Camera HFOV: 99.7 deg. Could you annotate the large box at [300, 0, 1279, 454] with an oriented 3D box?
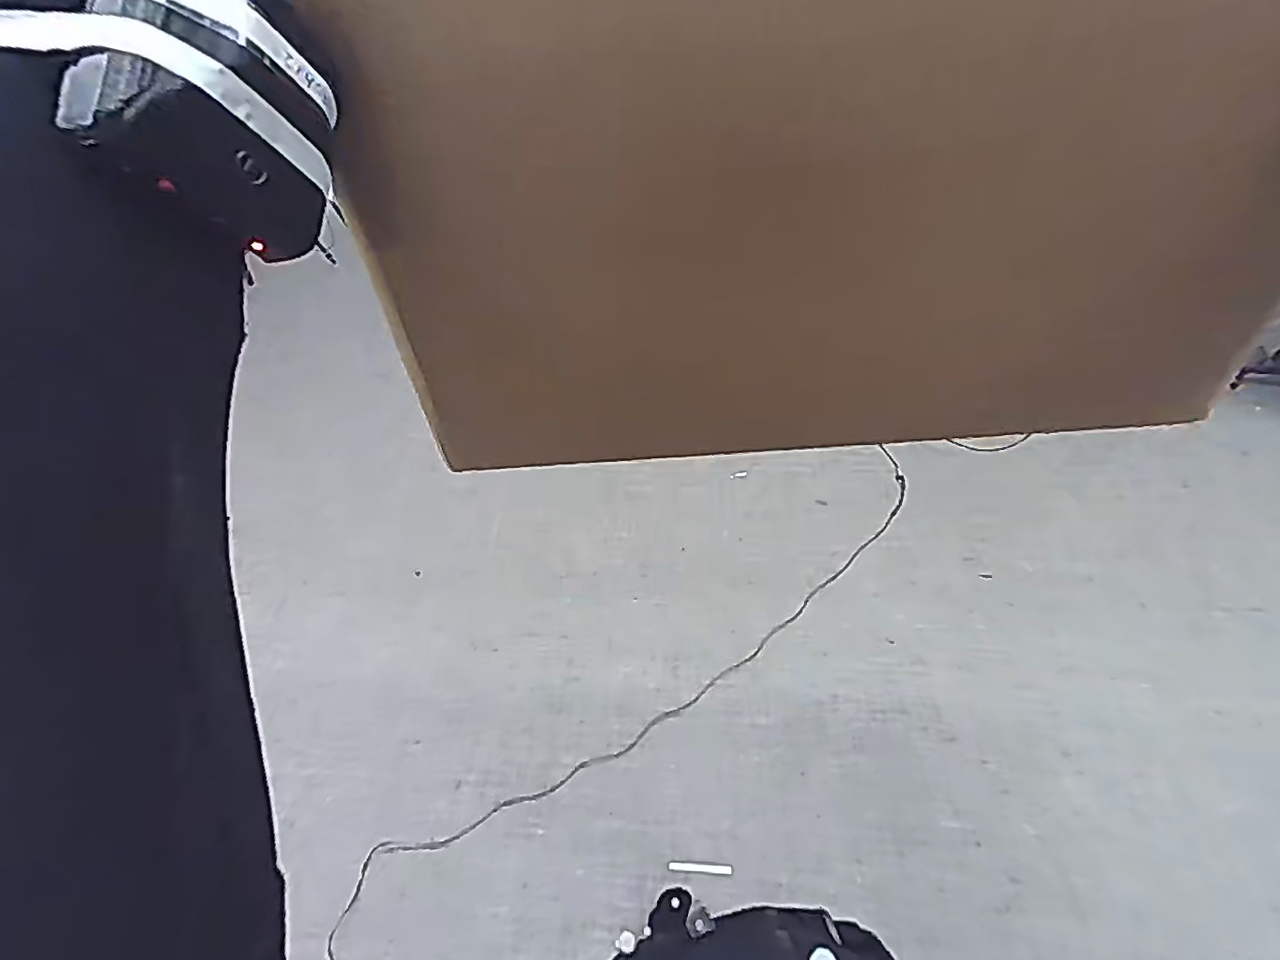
[{"bbox_3d":[0.076,-0.235,0.324,0.408,0.320,0.320,-4,40,2],"label":"large box"}]
